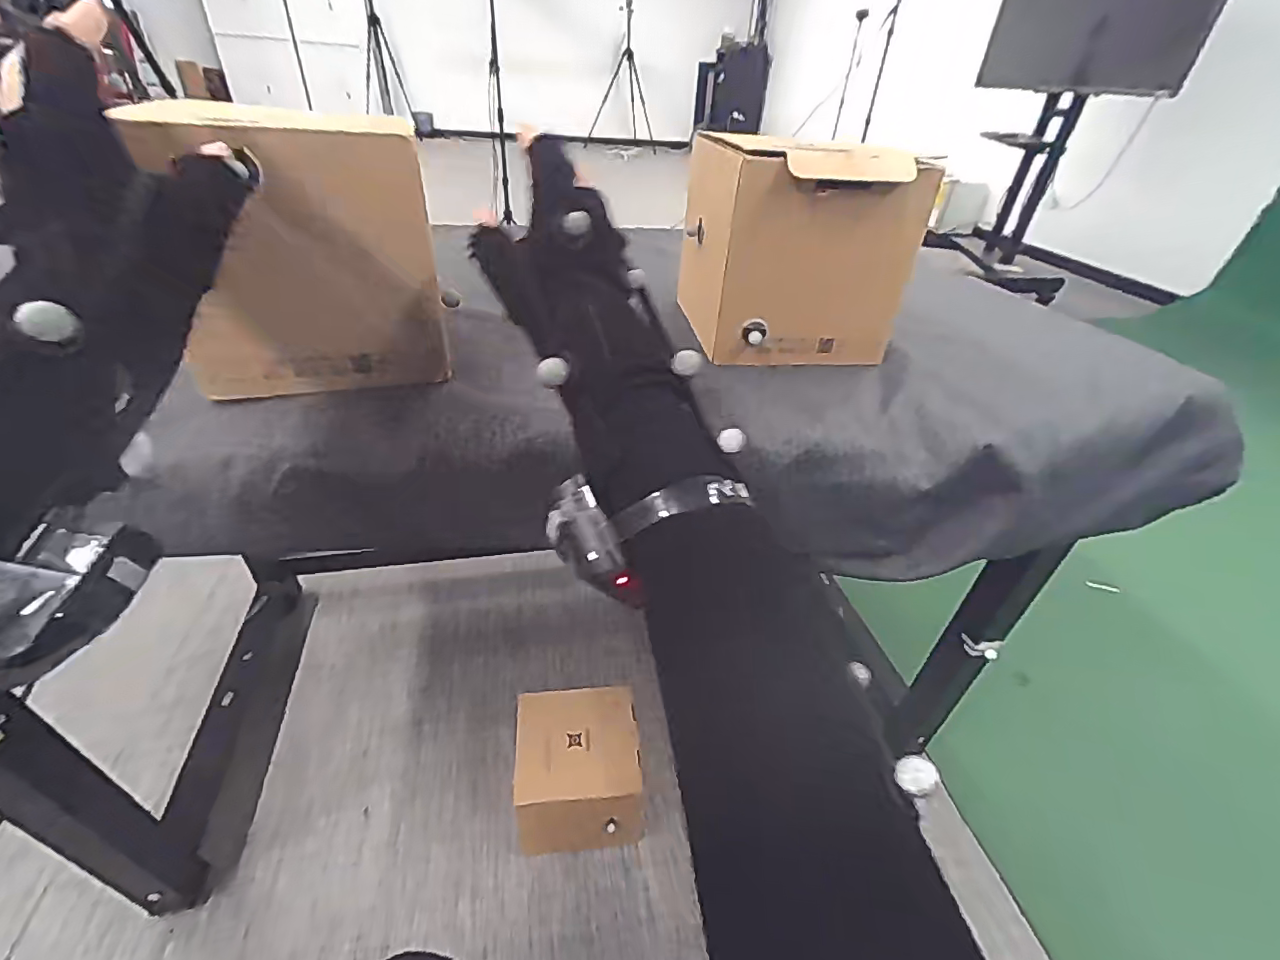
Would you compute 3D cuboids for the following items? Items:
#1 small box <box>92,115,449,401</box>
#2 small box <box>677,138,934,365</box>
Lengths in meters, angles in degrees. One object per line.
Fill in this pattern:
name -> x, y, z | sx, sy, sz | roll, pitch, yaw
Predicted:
small box -> -0.249, -0.176, 0.421 | 0.168, 0.176, 0.179 | -9, 37, -17
small box -> 0.134, -0.220, 0.519 | 0.168, 0.176, 0.179 | -2, 37, -8
